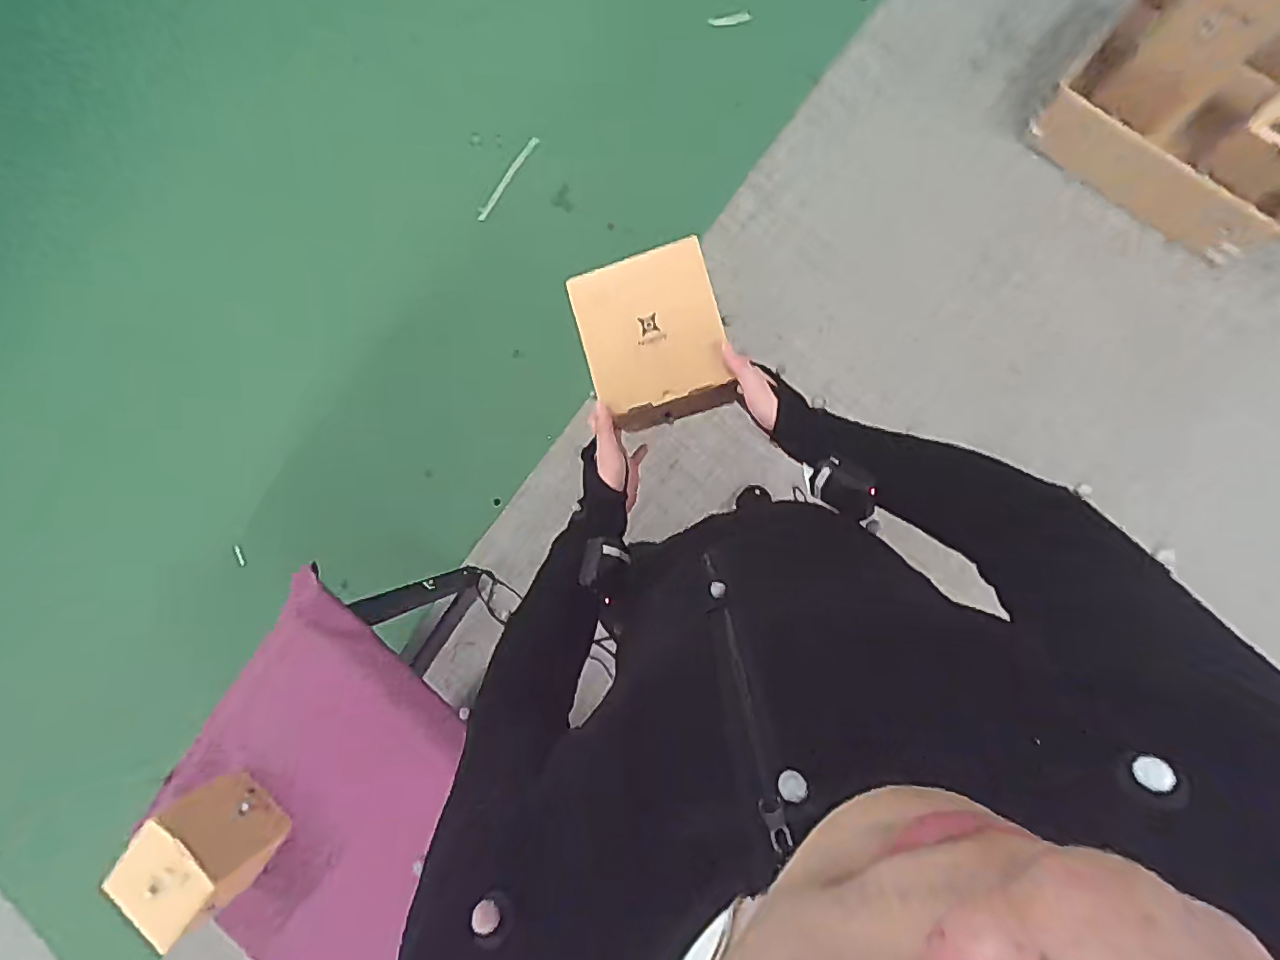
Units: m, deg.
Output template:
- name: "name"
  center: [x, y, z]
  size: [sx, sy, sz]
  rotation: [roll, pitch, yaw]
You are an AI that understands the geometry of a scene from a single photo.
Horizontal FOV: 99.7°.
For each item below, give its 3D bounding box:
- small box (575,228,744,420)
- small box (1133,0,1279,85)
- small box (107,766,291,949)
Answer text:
- name: "small box"
  center: [0.030, -0.188, 0.706]
  size: [0.168, 0.176, 0.179]
  rotation: [-15, 90, 7]
- name: "small box"
  center: [1.215, -0.999, 1.139]
  size: [0.168, 0.176, 0.179]
  rotation: [37, 96, 8]
- name: "small box"
  center: [-0.795, 0.678, 0.992]
  size: [0.168, 0.176, 0.179]
  rotation: [39, 96, 6]
